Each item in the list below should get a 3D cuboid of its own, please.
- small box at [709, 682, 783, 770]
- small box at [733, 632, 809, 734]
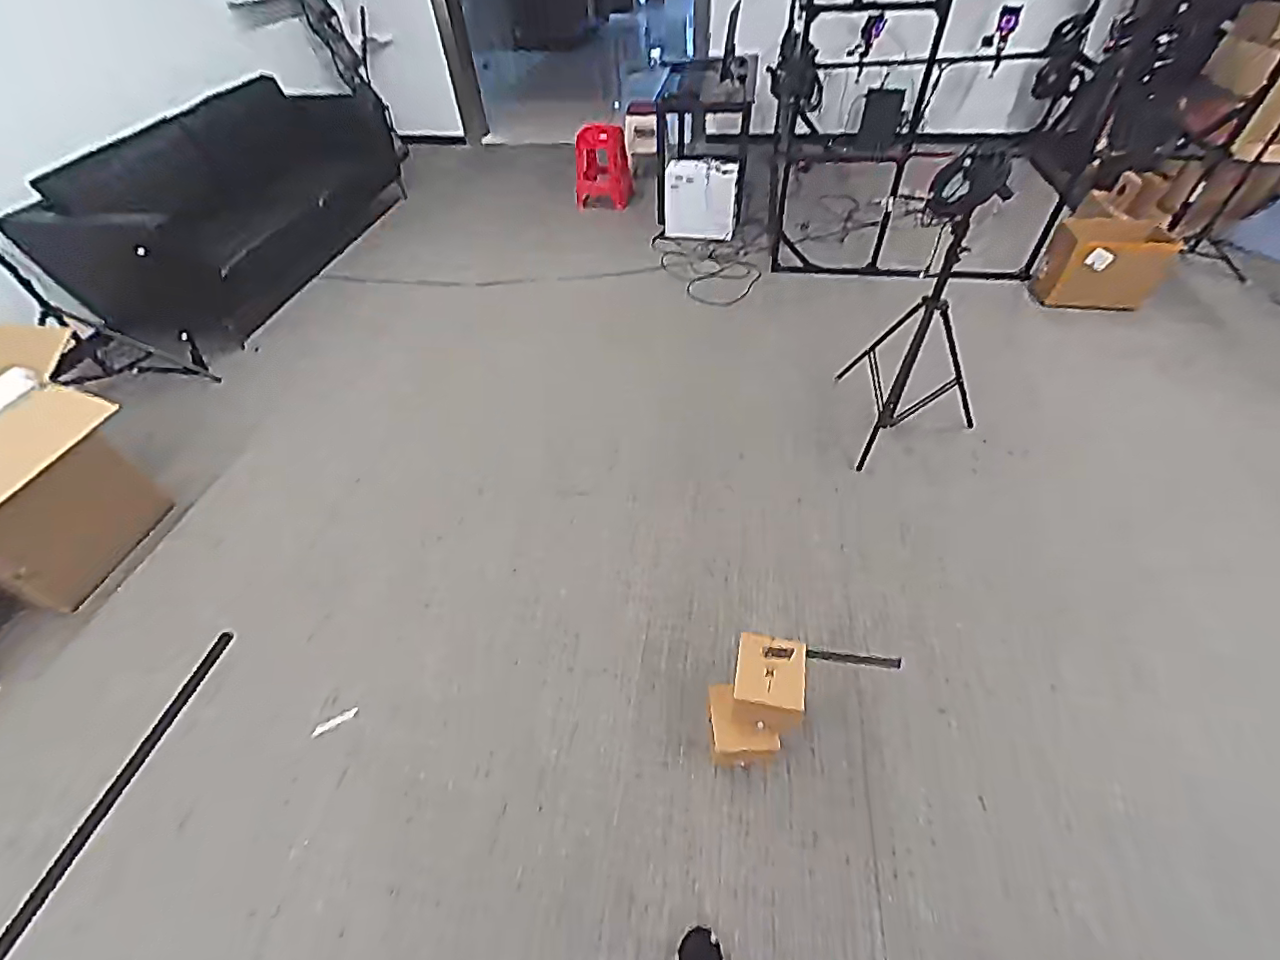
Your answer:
[{"bbox_3d":[0.278,0.665,1.463,0.168,0.176,0.179,-3,48,2],"label":"small box"},{"bbox_3d":[0.330,0.516,1.374,0.168,0.176,0.179,7,49,12],"label":"small box"}]
